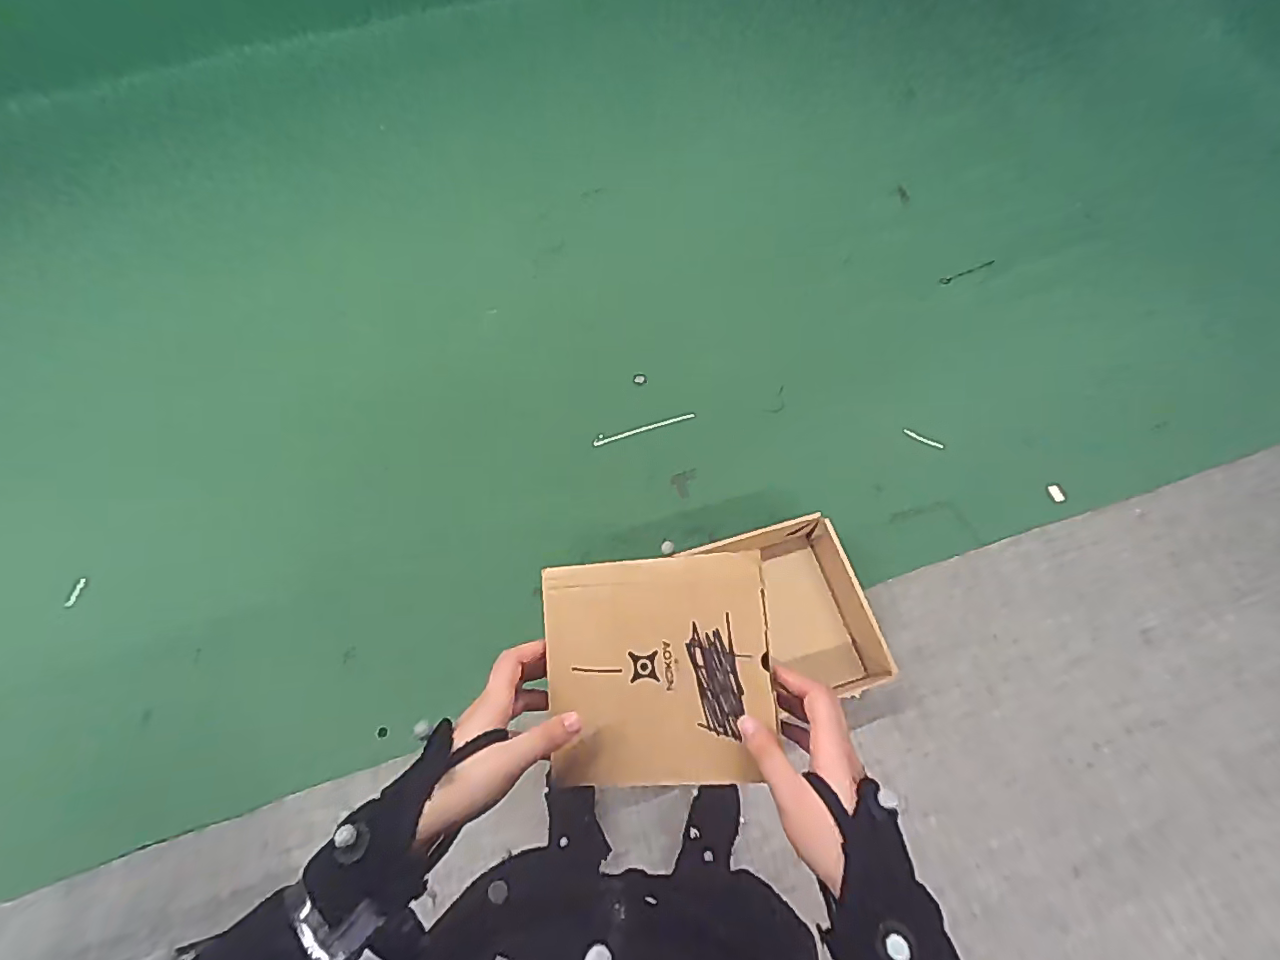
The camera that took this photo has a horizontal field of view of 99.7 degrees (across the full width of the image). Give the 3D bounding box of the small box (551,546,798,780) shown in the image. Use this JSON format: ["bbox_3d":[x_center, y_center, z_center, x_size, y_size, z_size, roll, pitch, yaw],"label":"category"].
[{"bbox_3d":[0.033,0.147,0.480,0.179,0.176,0.168,-6,80,10],"label":"small box"}]
